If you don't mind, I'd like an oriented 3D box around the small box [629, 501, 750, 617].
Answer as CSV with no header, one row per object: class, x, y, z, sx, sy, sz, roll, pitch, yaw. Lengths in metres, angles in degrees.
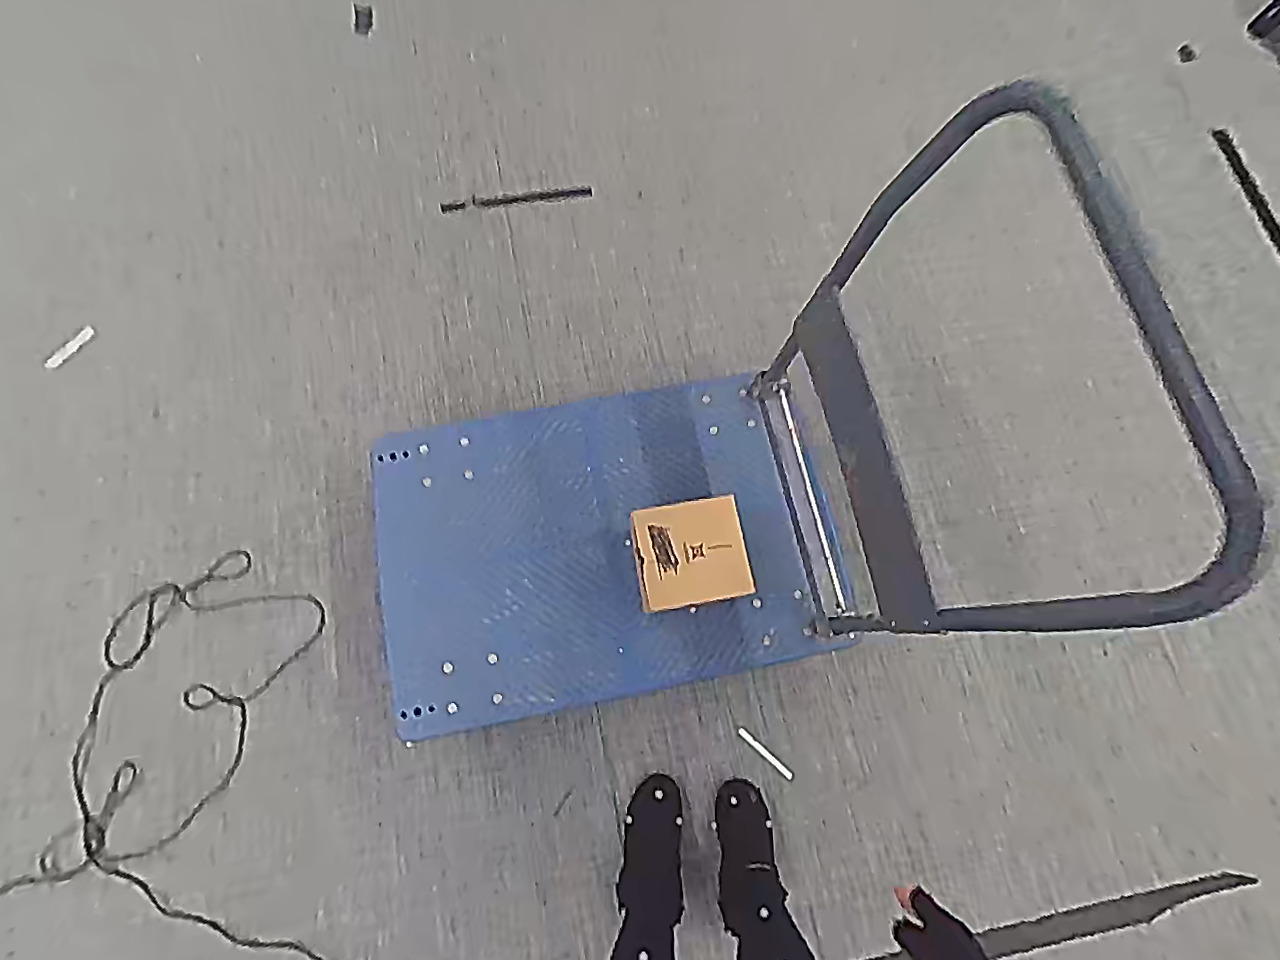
small box,0.078,0.147,0.958,0.179,0.176,0.168,-8,75,-4
